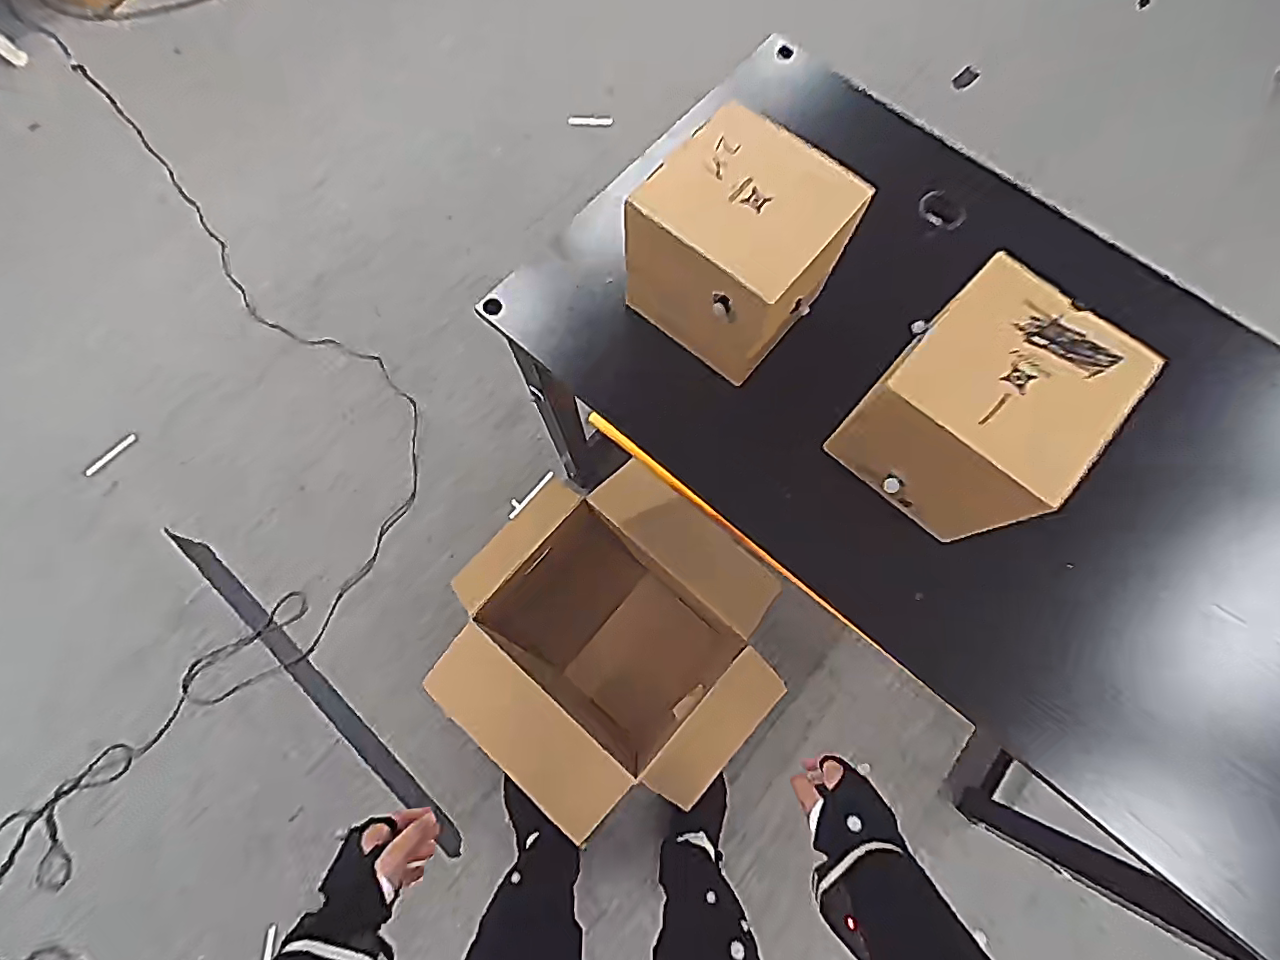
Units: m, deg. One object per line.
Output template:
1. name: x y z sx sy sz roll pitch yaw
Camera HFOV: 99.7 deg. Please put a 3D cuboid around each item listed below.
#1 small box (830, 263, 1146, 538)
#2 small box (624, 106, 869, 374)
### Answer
1. small box: 0.322 -0.066 0.540 0.168 0.176 0.179 41 78 10
2. small box: 0.101 -0.240 0.586 0.179 0.176 0.168 39 77 10
